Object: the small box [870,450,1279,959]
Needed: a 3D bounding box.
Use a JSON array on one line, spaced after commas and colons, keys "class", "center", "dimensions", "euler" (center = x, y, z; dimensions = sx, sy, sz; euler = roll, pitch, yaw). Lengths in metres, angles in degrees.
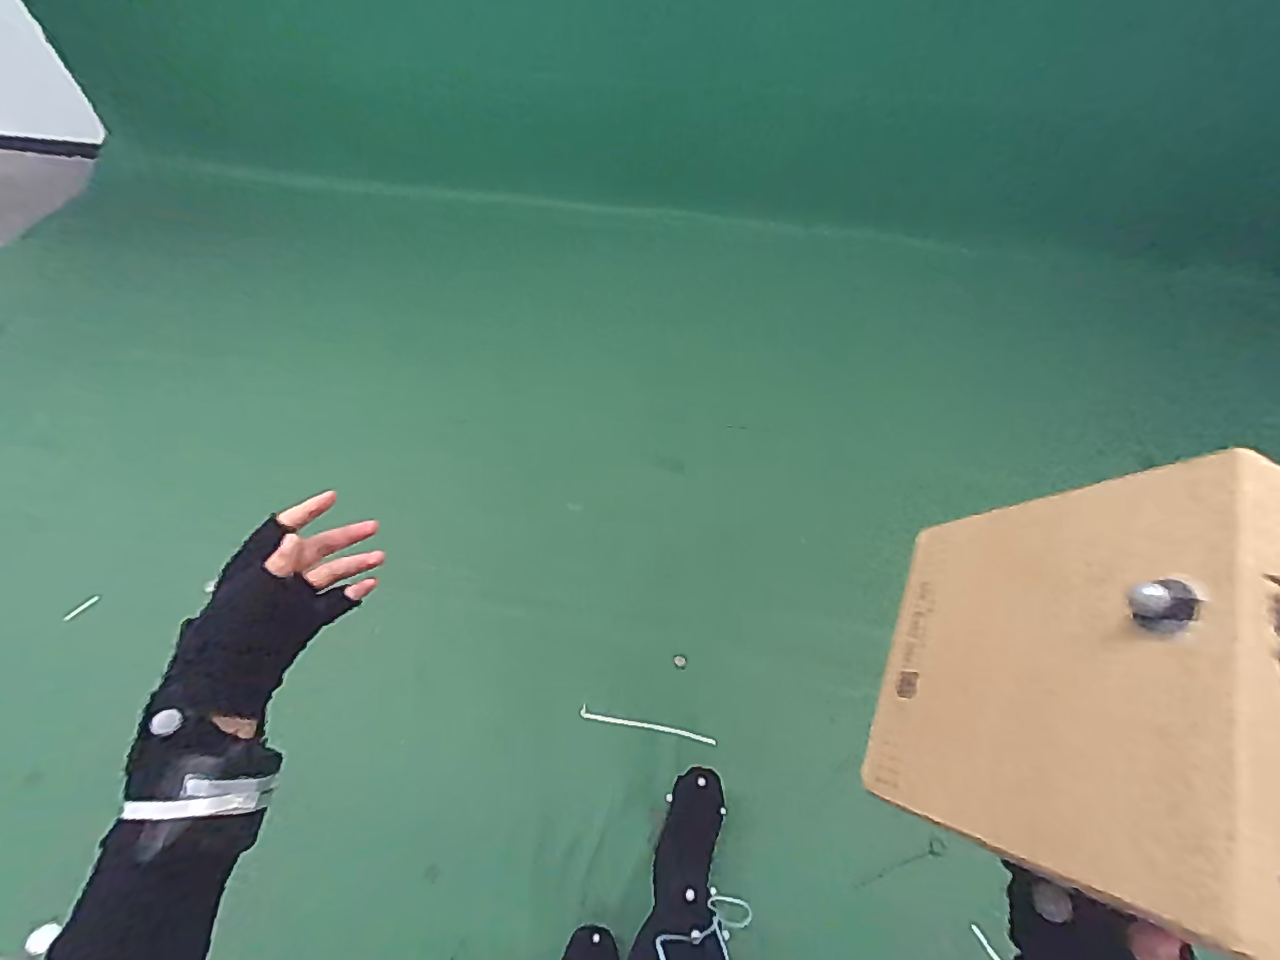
[{"class": "small box", "center": [0.252, 0.115, 0.258], "dimensions": [0.179, 0.176, 0.168], "euler": [28, 70, -6]}]
